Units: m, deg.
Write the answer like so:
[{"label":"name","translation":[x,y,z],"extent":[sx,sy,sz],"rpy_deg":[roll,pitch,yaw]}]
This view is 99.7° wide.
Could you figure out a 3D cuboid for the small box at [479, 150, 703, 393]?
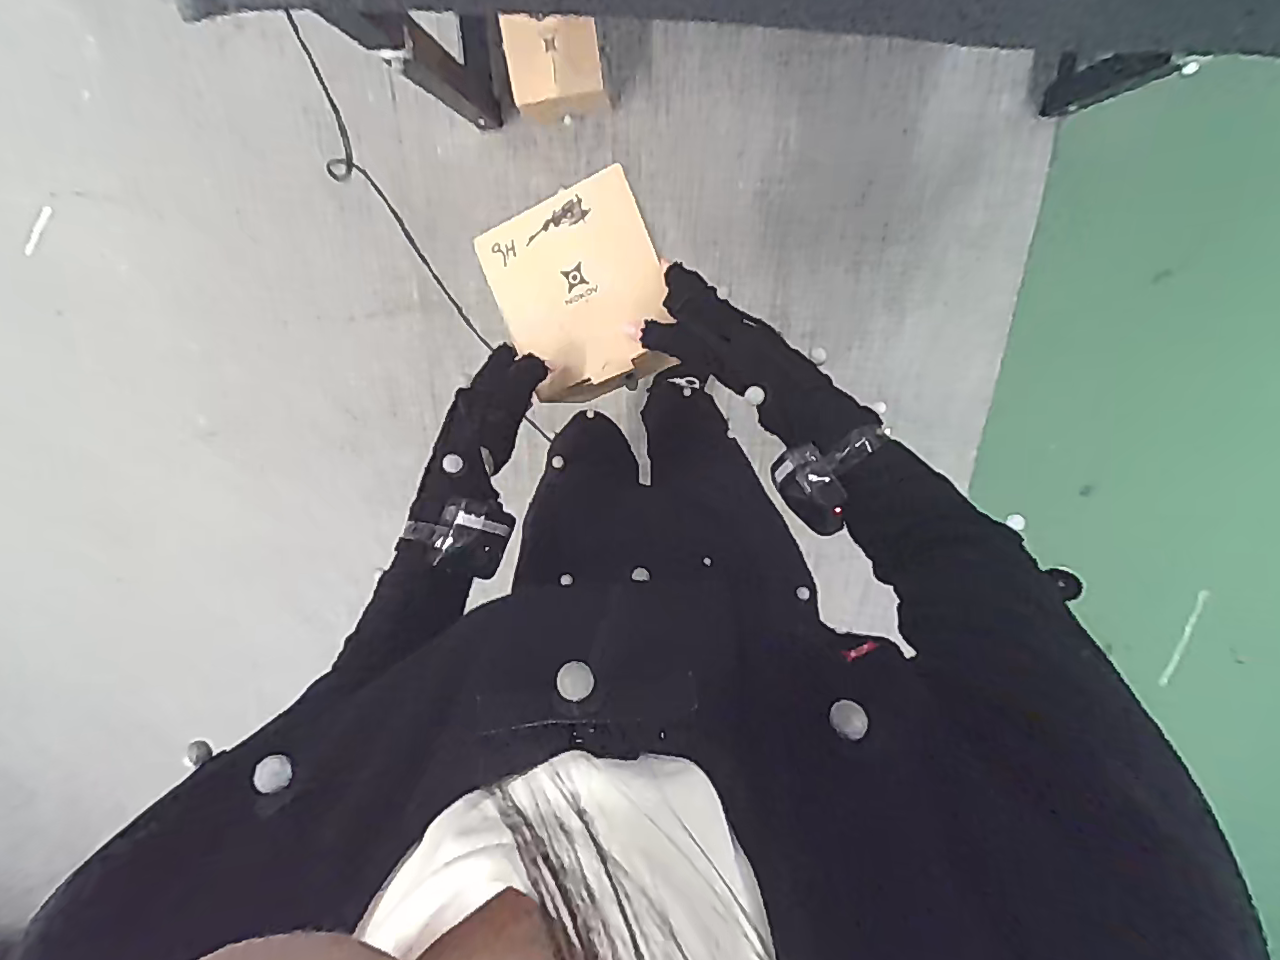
[{"label":"small box","translation":[-0.038,-0.207,0.591],"extent":[0.168,0.176,0.179],"rpy_deg":[-21,94,12]}]
